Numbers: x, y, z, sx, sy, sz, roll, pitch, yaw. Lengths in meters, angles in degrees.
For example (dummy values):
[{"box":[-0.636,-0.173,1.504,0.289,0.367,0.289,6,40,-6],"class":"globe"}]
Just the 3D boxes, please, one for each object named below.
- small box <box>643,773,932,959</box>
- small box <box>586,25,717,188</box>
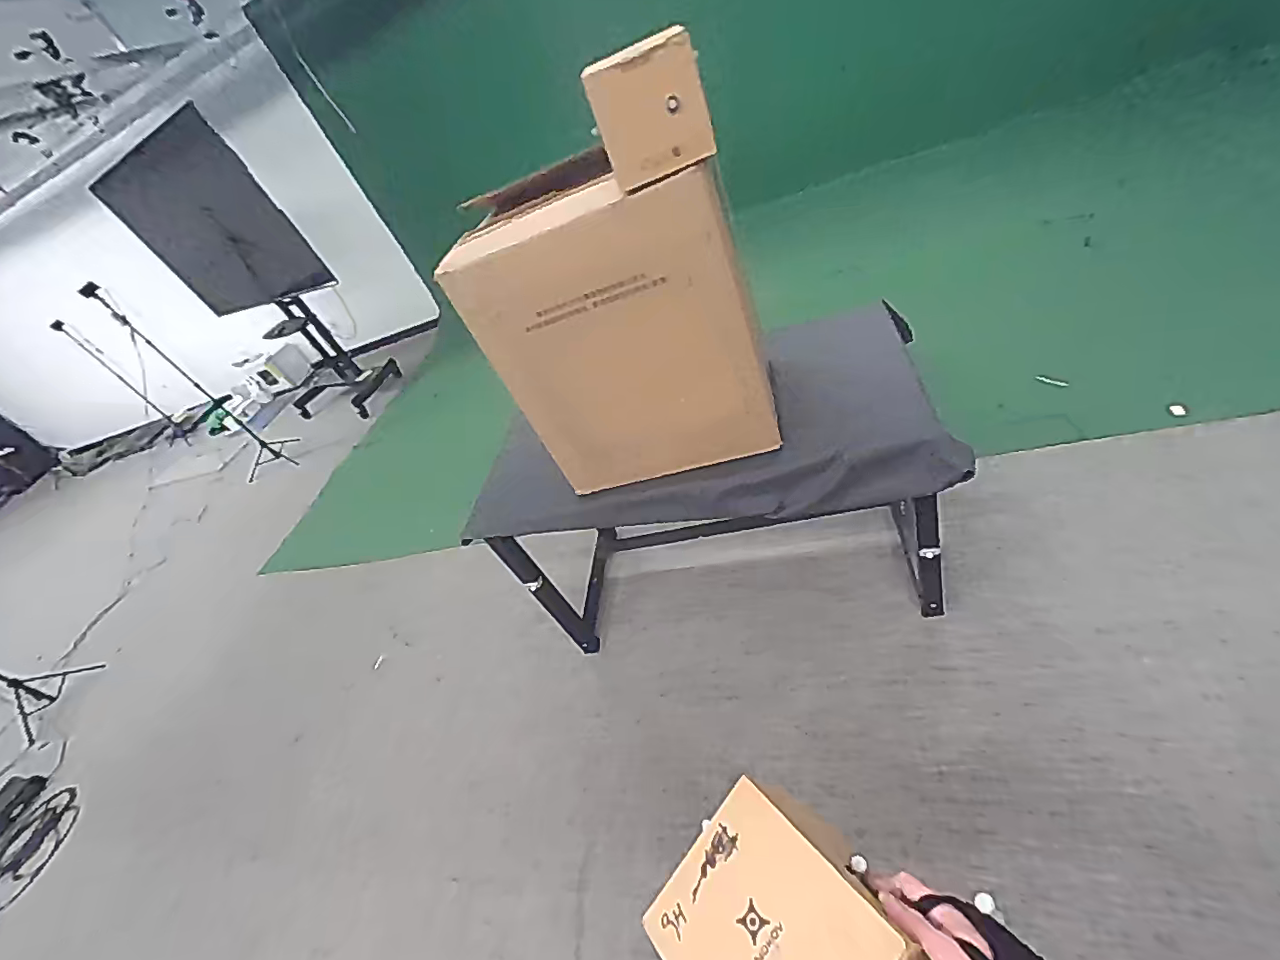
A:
[{"box":[0.143,0.416,0.508,0.168,0.176,0.179,-51,43,-7],"class":"small box"},{"box":[0.022,-0.607,0.889,0.168,0.176,0.179,-15,39,12],"class":"small box"}]
